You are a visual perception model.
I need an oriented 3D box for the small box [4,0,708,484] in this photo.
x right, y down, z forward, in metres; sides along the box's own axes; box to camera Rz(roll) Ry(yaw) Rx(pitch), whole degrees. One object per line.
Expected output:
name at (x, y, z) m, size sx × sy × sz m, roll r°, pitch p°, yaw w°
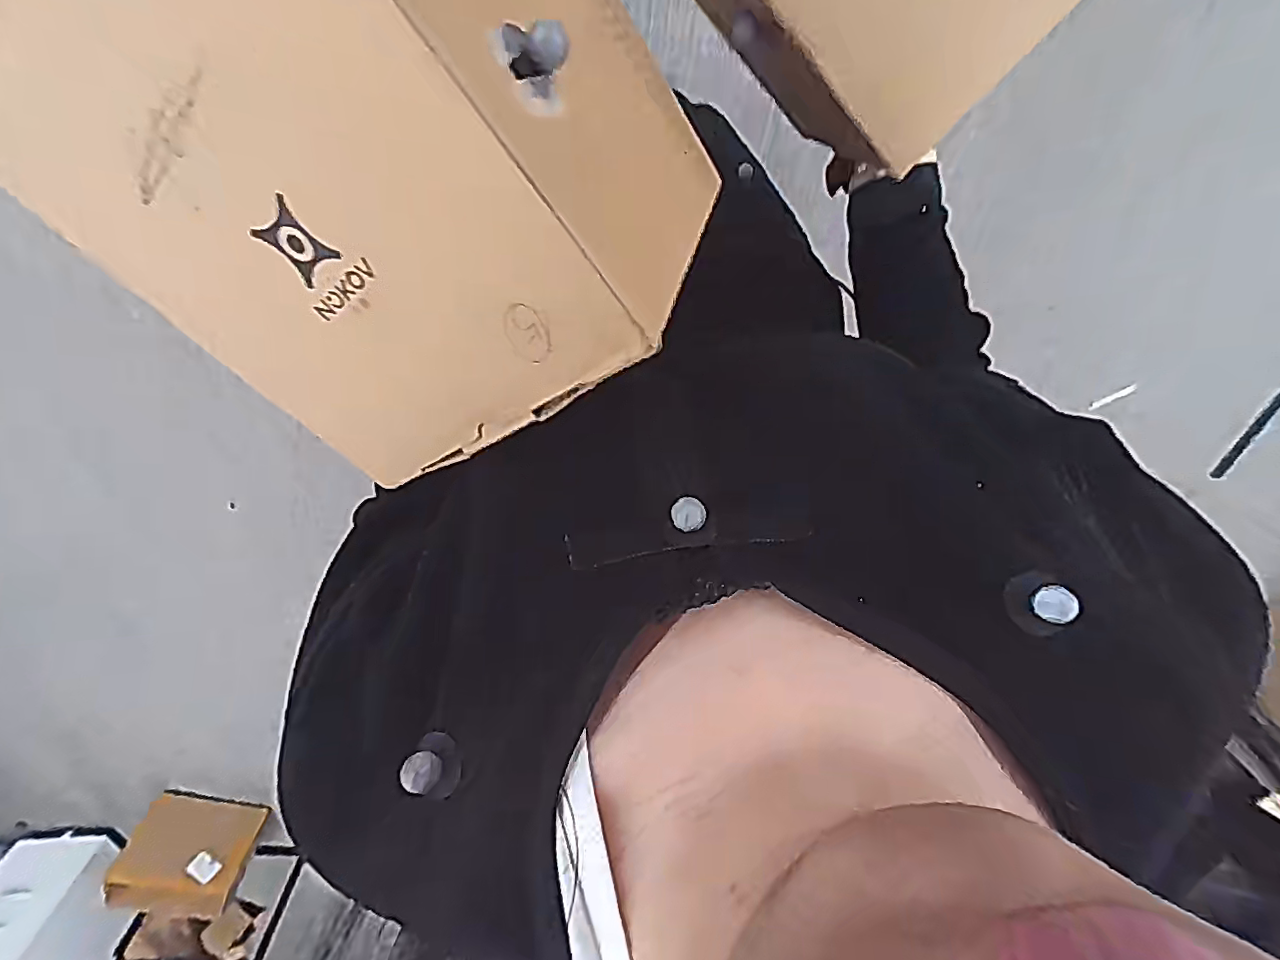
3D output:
small box at (-0.087, -0.132, 0.235) m, size 0.168 × 0.176 × 0.179 m, roll -22°, pitch 124°, yaw 34°

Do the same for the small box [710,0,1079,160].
small box at (0.123, -0.303, 0.270) m, size 0.179 × 0.176 × 0.168 m, roll 33°, pitch 119°, yaw -28°
